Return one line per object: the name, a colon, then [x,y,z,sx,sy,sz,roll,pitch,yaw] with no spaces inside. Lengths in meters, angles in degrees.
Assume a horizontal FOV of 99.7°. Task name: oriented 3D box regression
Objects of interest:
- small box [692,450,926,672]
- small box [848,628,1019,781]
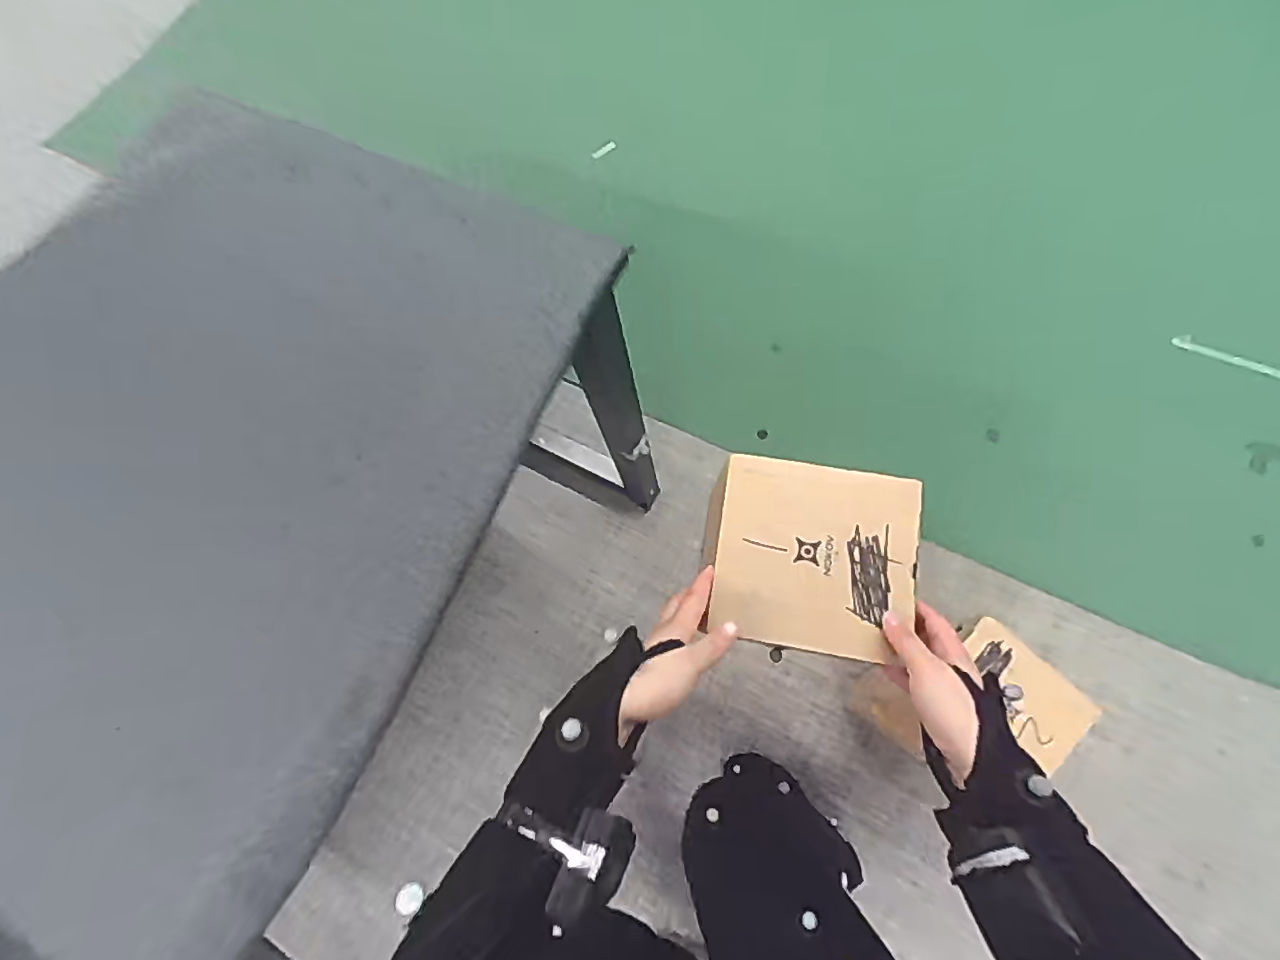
small box: [0.153,0.083,0.538,0.179,0.176,0.168,9,76,5]
small box: [0.496,0.377,0.940,0.179,0.176,0.168,34,78,15]
